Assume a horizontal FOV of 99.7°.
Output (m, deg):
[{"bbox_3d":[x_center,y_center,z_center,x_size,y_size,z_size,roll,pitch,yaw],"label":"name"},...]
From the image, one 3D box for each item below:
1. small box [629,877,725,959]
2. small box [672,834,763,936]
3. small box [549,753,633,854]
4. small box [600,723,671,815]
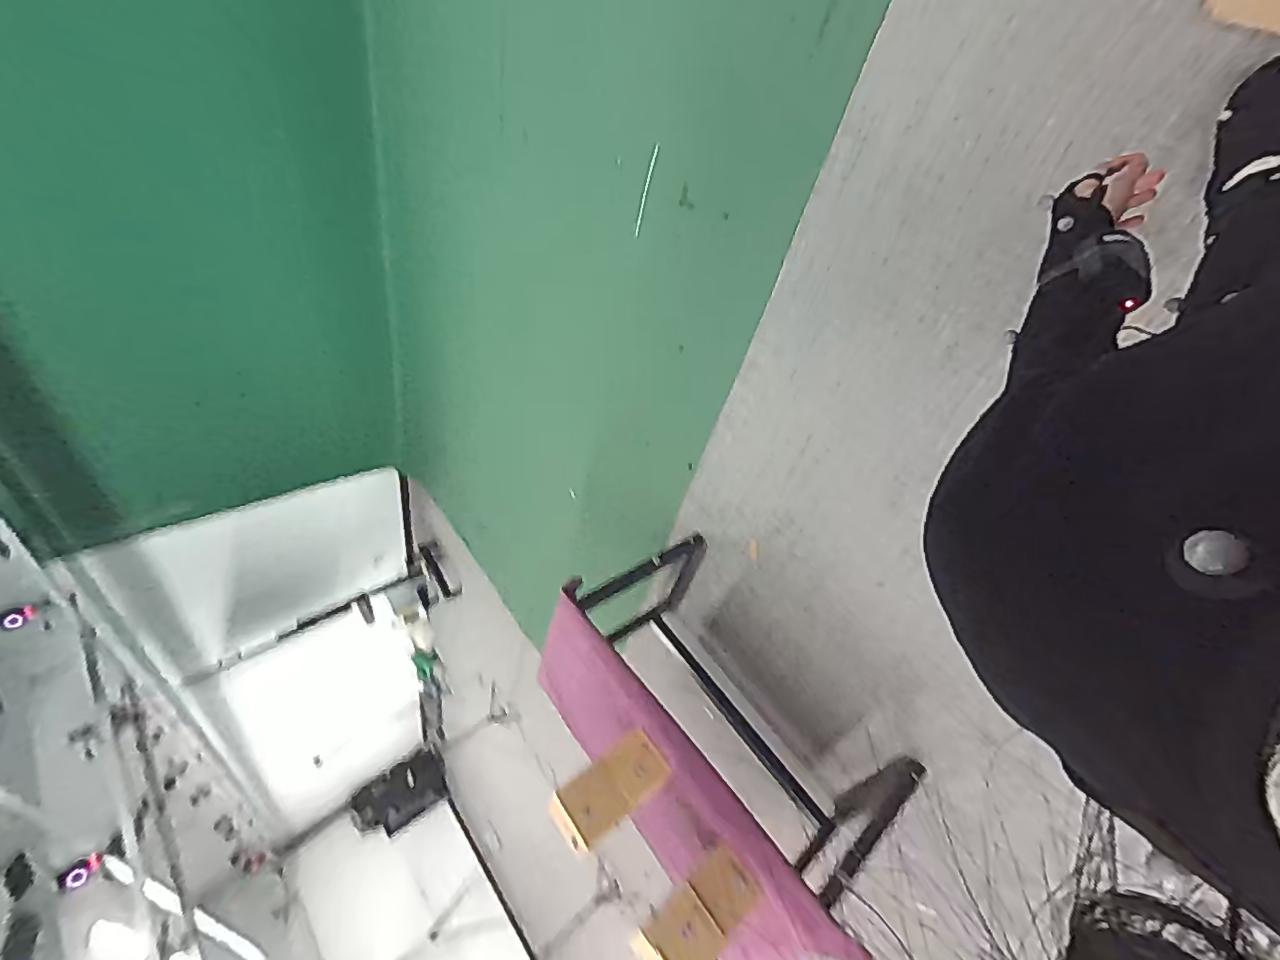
[{"bbox_3d":[0.101,1.198,1.429,0.168,0.176,0.179,46,138,26],"label":"small box"},{"bbox_3d":[0.220,1.155,1.534,0.168,0.176,0.179,44,137,27],"label":"small box"},{"bbox_3d":[-0.145,0.957,1.607,0.179,0.176,0.168,47,140,25],"label":"small box"},{"bbox_3d":[-0.024,0.904,1.705,0.168,0.176,0.179,44,139,27],"label":"small box"}]
